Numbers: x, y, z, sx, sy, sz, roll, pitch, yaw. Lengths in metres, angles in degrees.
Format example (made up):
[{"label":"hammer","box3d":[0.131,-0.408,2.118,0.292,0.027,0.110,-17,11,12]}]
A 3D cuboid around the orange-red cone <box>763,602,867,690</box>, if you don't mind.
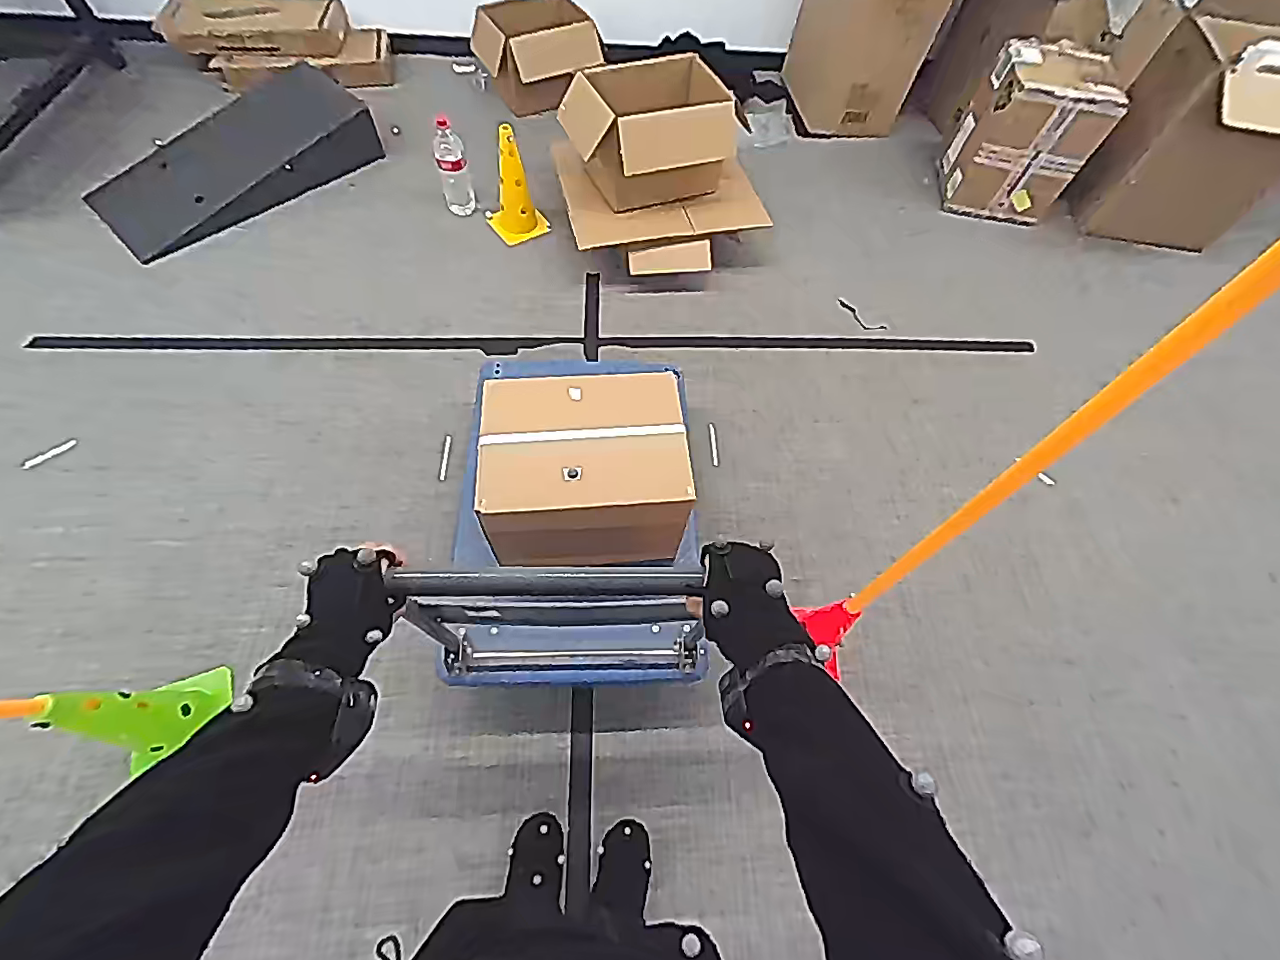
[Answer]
[{"label":"orange-red cone","box3d":[0.422,0.342,1.223,0.199,0.360,0.198,6,61,-2]}]
